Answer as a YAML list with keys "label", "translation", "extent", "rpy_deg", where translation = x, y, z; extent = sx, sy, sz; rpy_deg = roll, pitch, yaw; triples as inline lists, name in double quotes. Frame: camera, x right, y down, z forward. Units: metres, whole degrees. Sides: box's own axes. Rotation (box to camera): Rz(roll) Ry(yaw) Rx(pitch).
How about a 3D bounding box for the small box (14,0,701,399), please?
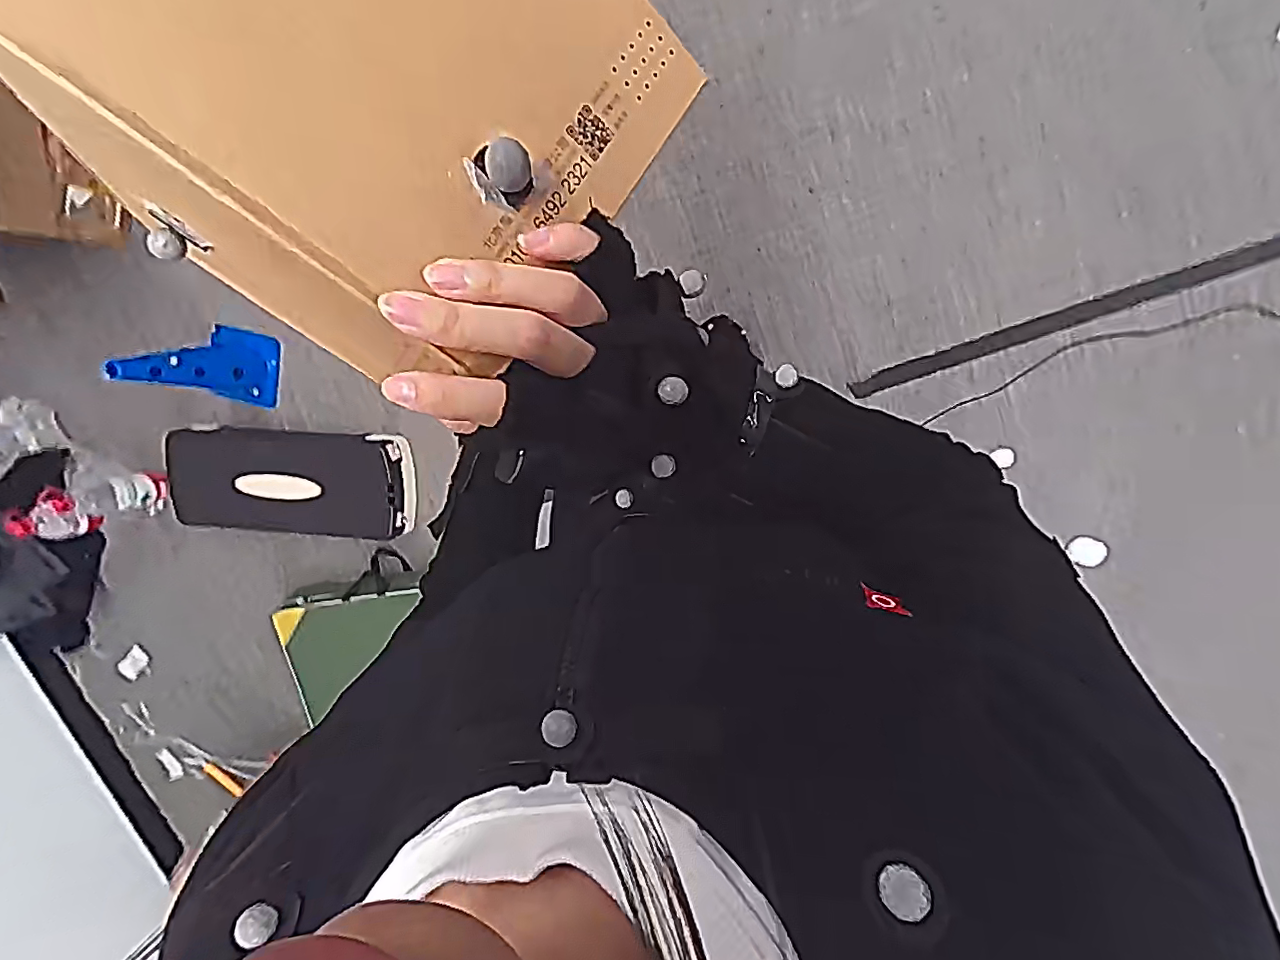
- label: "small box"
  translation: [-0.106, -0.154, 0.267]
  extent: [0.176, 0.179, 0.168]
  rpy_deg: [36, 78, -26]
